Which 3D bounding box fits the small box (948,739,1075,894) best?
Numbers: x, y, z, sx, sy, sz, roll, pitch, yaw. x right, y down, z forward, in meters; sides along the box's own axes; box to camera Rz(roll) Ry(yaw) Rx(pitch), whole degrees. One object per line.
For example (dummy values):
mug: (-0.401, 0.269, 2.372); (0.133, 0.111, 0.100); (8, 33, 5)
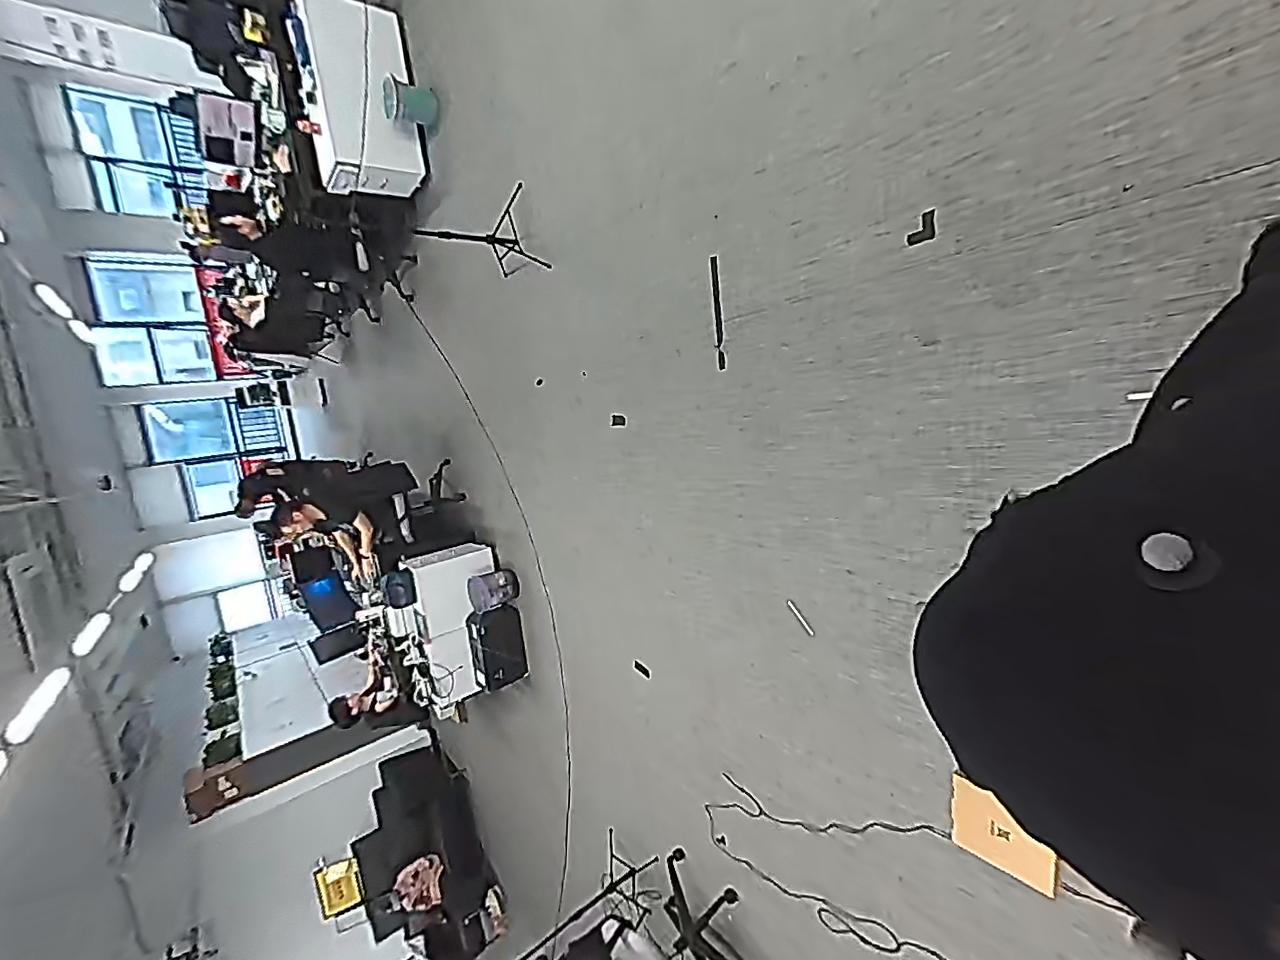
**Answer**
small box: (0.749, 0.660, 1.091); (0.179, 0.176, 0.168); (8, 108, 51)
